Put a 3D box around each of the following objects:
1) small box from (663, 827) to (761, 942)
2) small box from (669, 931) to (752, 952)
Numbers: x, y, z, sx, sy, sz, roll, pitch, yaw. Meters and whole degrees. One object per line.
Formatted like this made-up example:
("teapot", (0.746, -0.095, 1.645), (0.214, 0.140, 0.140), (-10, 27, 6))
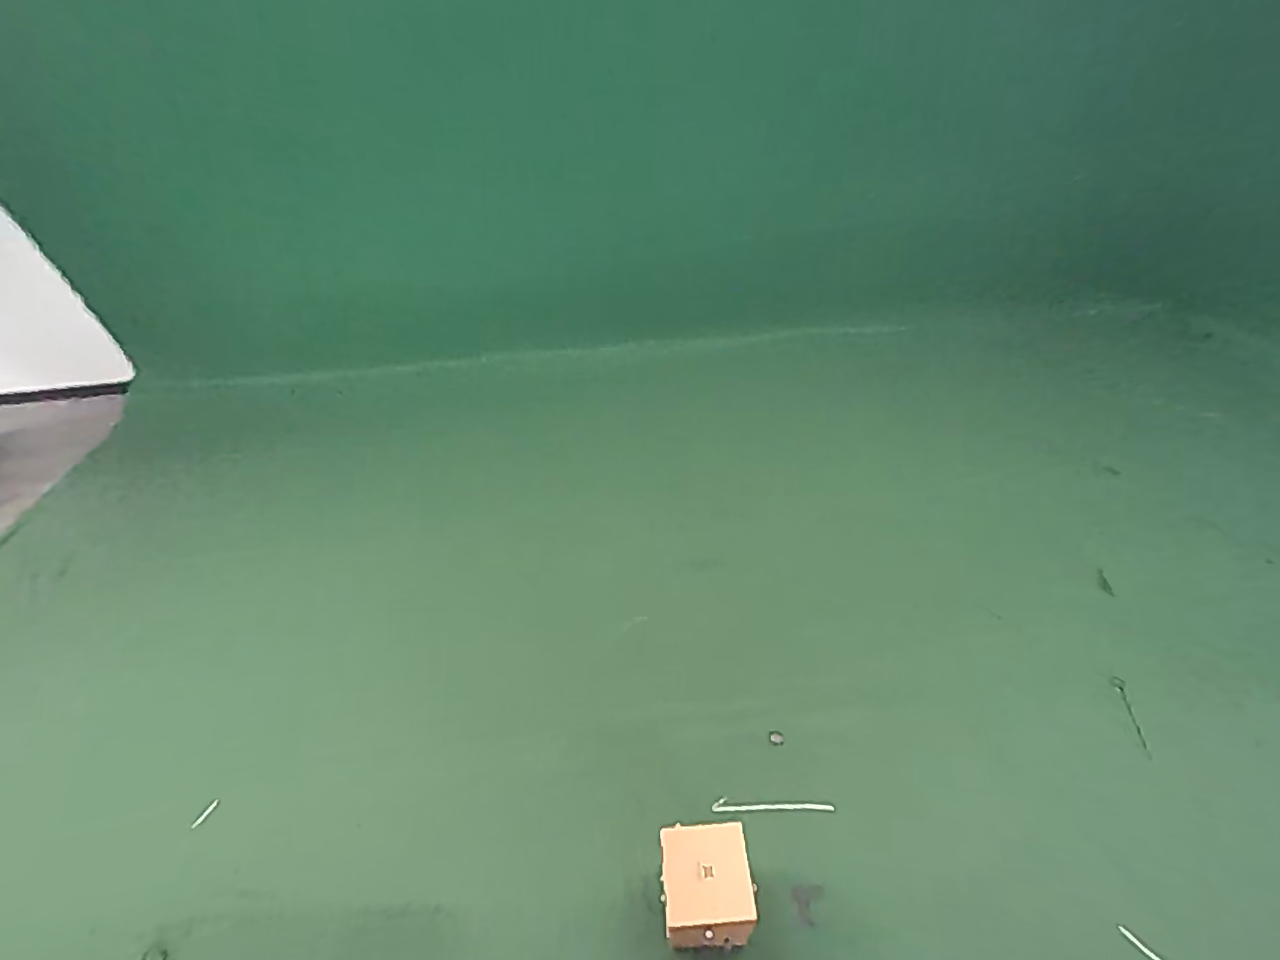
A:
("small box", (0.146, 0.848, 1.133), (0.179, 0.176, 0.168), (-7, 43, 2))
("small box", (0.155, 0.967, 1.243), (0.179, 0.176, 0.168), (-4, 43, 4))
